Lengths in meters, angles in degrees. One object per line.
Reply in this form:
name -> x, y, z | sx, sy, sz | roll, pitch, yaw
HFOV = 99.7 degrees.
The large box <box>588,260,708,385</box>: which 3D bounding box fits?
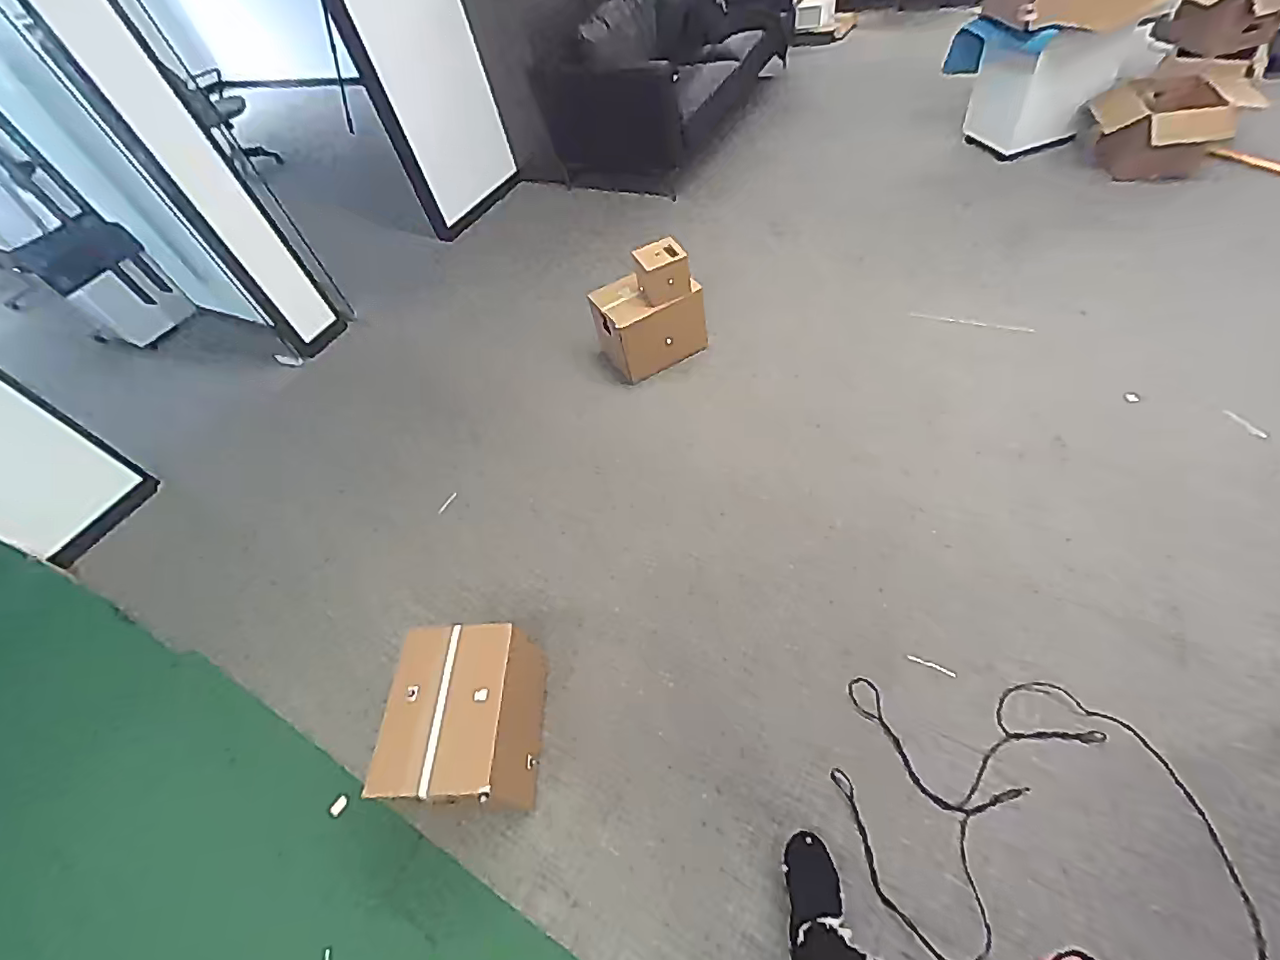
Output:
large box -> 0.043, -0.697, 2.391 | 0.408, 0.320, 0.320 | -30, 52, -10
